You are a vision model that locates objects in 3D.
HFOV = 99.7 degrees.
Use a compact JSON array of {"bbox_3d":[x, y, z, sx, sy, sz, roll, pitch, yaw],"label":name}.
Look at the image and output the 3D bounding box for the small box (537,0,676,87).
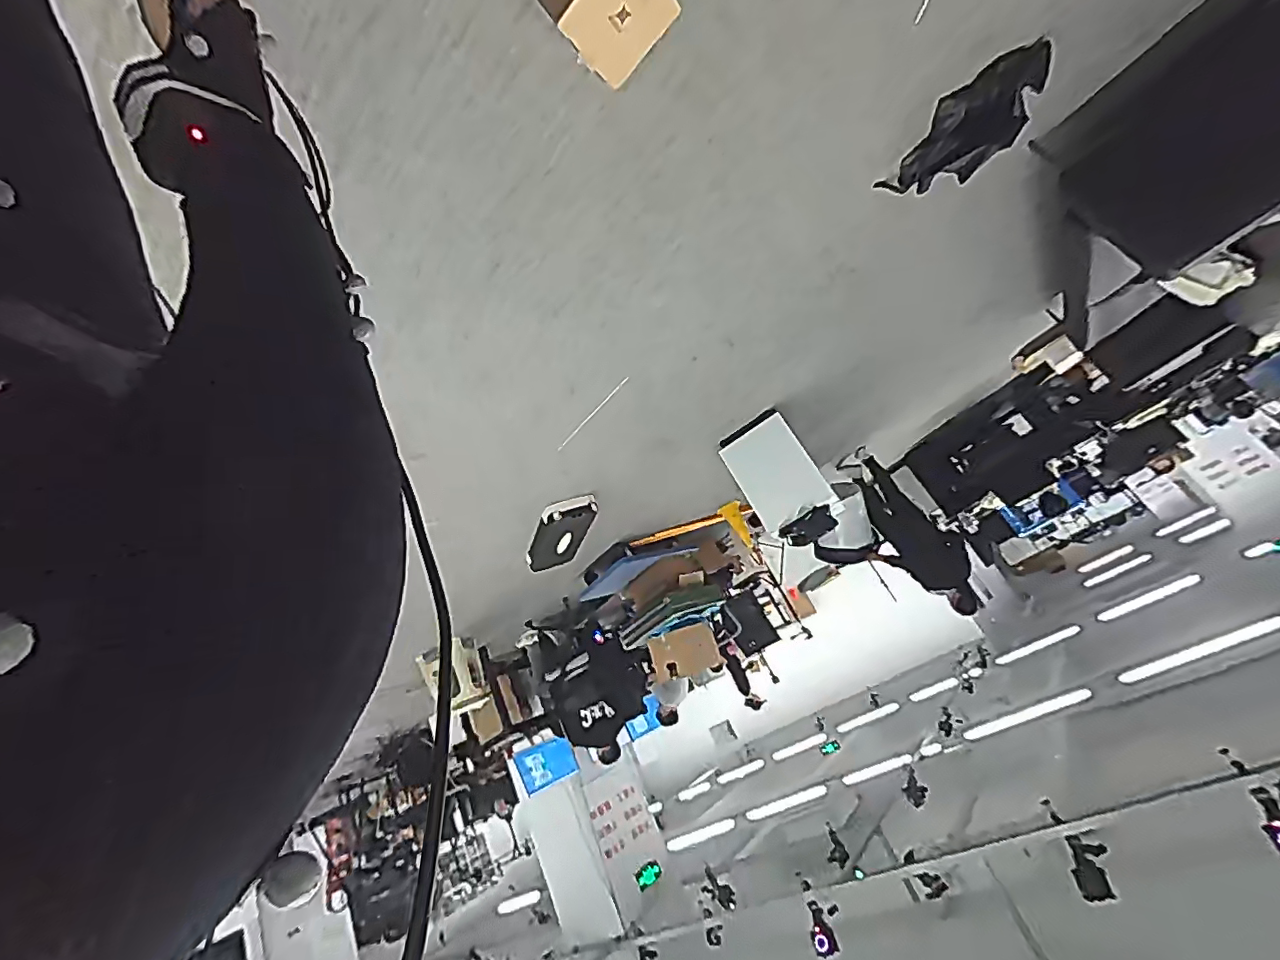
[{"bbox_3d":[-0.075,-0.851,0.934,0.179,0.176,0.168,-39,157,23],"label":"small box"}]
